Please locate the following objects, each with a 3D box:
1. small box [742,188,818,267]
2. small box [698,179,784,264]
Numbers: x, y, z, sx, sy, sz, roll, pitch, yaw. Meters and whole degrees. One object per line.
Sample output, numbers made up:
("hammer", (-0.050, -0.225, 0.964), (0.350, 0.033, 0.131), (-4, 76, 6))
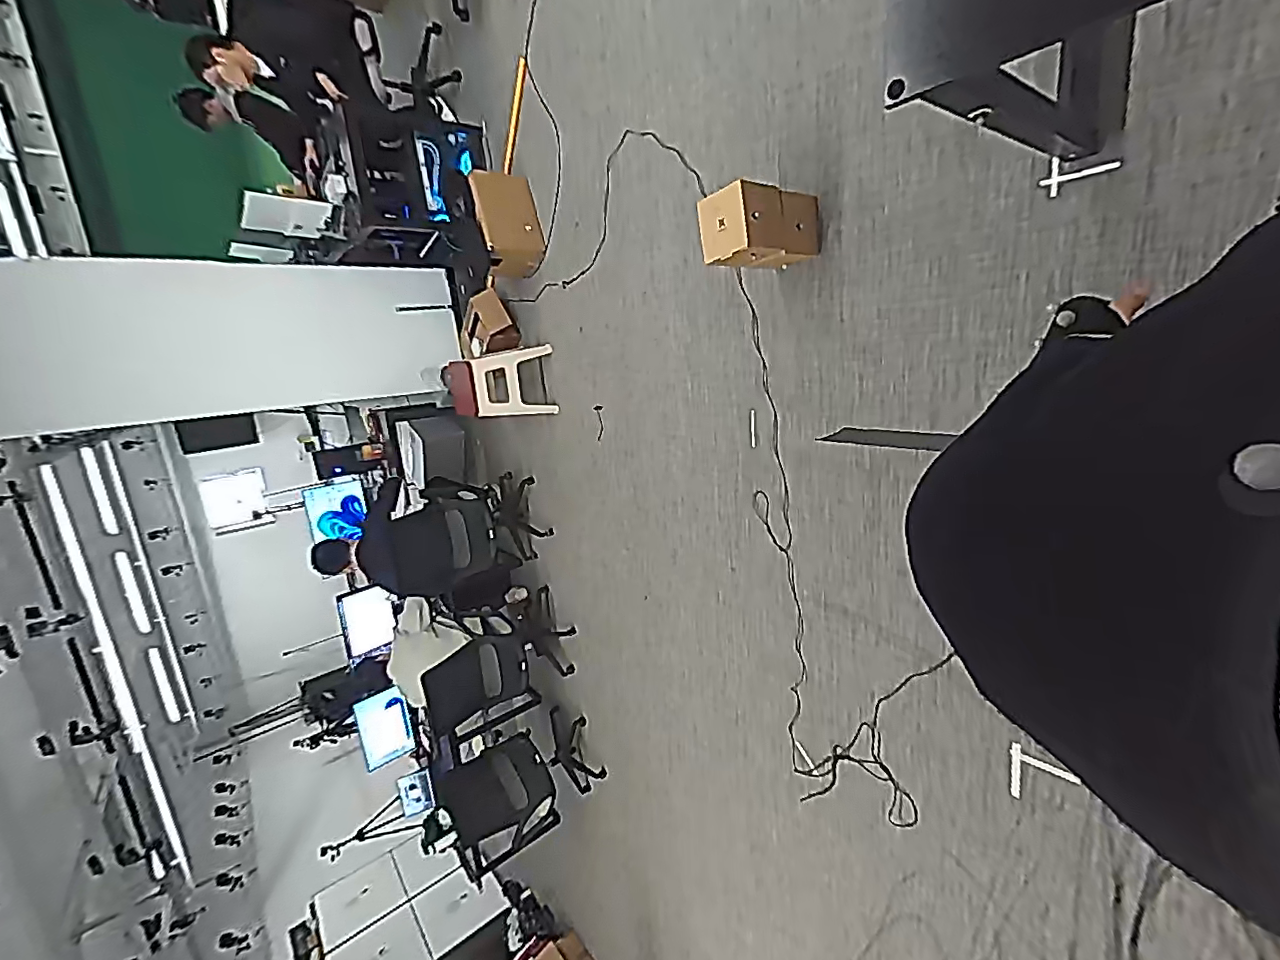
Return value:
("small box", (0.419, -0.753, 1.631), (0.168, 0.176, 0.179), (6, 108, 52))
("small box", (0.290, -0.724, 1.535), (0.168, 0.176, 0.179), (2, 103, 52))
